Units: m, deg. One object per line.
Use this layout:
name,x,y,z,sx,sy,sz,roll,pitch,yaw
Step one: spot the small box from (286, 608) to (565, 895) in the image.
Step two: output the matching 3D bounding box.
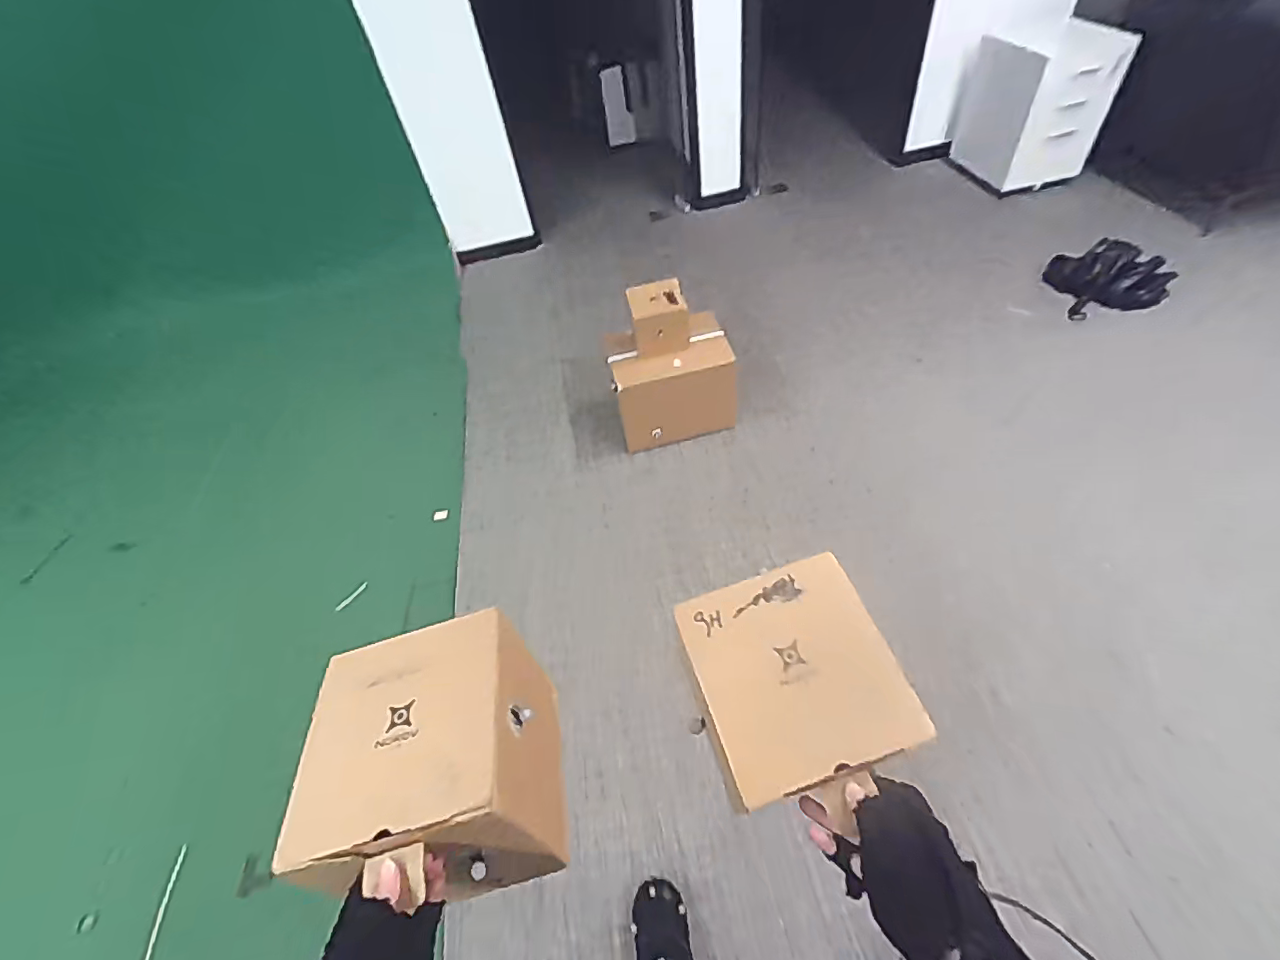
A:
small box,-0.175,0.257,0.504,0.168,0.176,0.179,-17,40,1

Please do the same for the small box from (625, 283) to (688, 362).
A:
small box,0.057,-0.519,1.794,0.179,0.176,0.168,-15,55,-3
